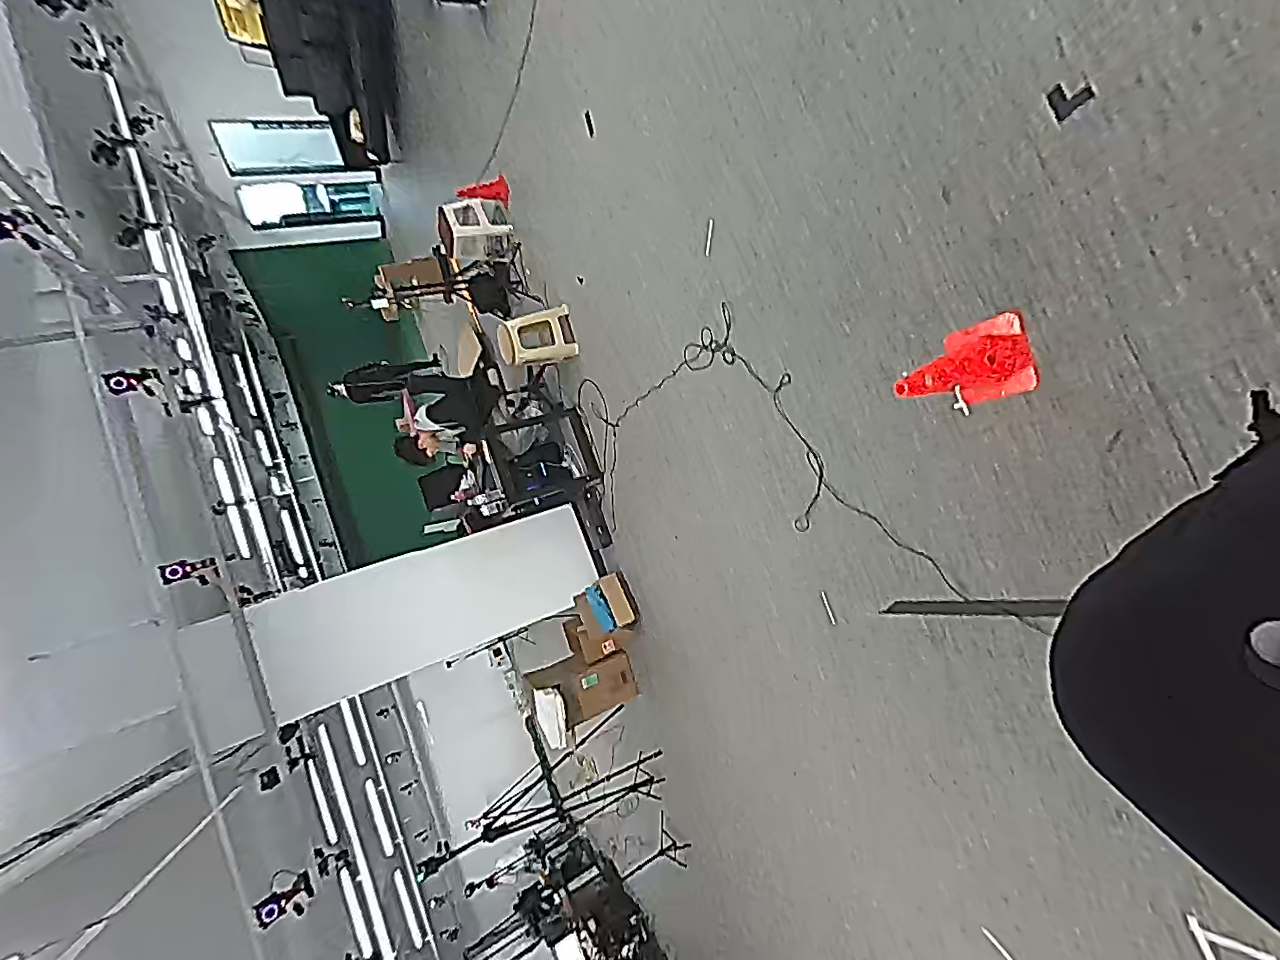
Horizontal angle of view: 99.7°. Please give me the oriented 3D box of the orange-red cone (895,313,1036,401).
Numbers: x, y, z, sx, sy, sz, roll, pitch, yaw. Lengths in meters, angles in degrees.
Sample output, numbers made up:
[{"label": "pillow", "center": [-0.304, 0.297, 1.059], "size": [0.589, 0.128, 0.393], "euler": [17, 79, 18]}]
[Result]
[{"label": "orange-red cone", "center": [0.757, -0.264, 1.326], "size": [0.199, 0.360, 0.198], "euler": [-13, 95, 64]}]
